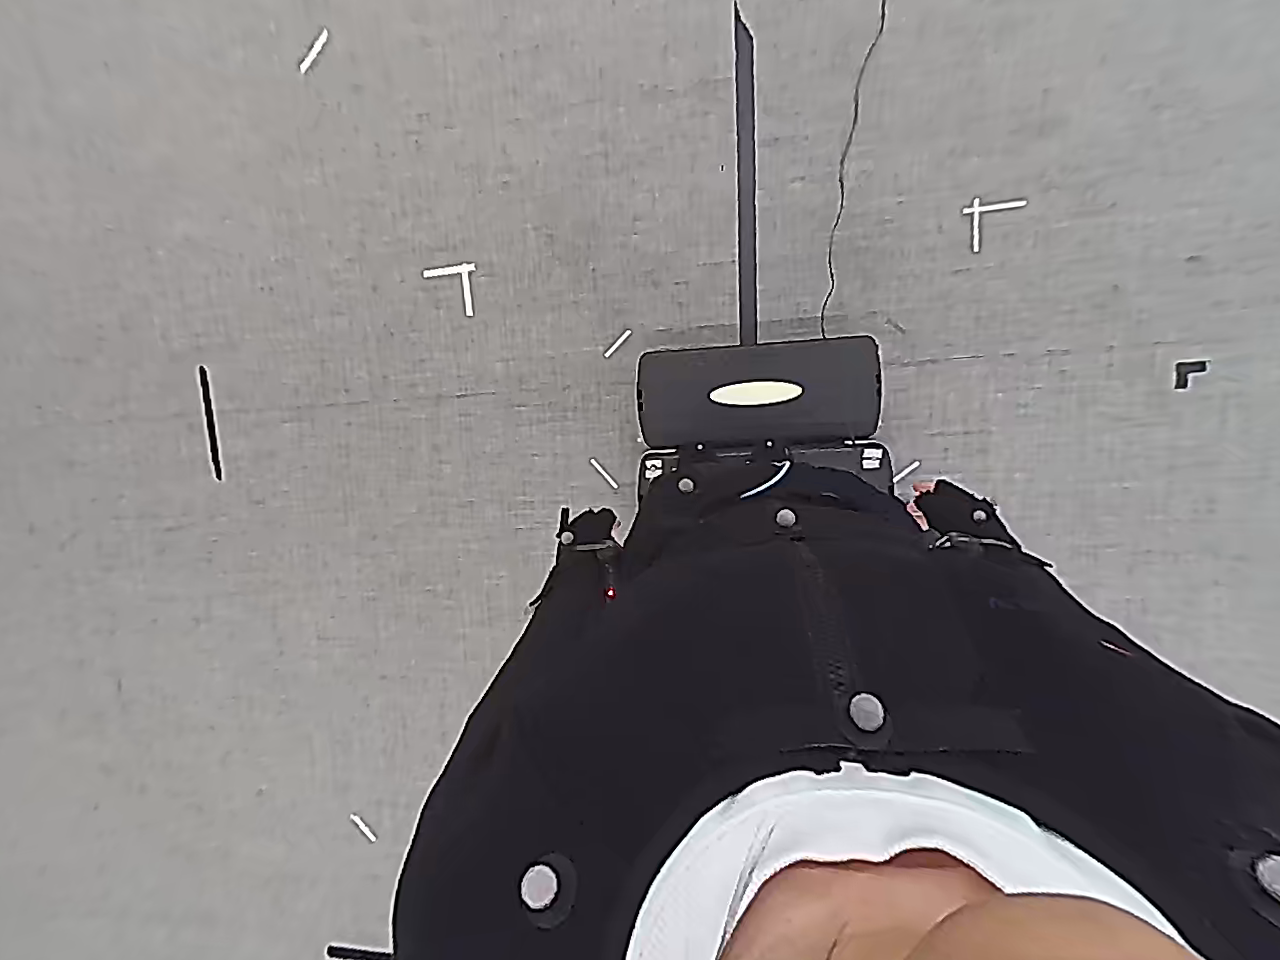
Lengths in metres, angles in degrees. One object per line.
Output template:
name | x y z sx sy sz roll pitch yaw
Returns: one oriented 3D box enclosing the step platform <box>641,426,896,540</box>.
step platform | 0.344 0.012 1.520 0.684 0.204 0.286 -3 95 10
